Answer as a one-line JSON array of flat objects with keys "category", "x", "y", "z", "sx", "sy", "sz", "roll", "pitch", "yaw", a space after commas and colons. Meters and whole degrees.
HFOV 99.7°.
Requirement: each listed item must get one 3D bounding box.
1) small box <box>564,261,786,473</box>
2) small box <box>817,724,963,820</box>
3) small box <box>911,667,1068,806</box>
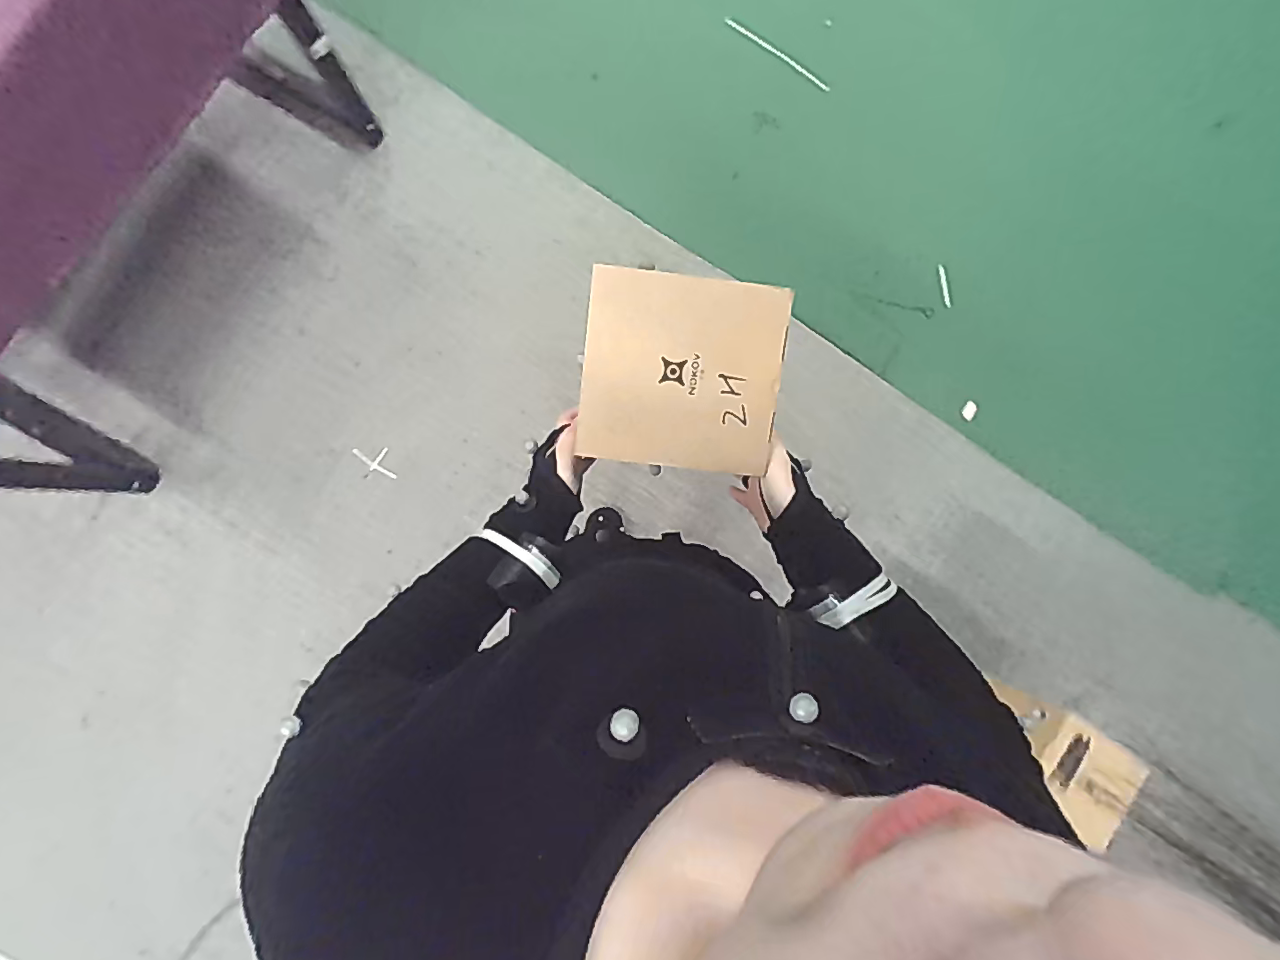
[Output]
[{"category": "small box", "x": 0.028, "y": -0.108, "z": 0.546, "sx": 0.179, "sy": 0.176, "sz": 0.168, "roll": 6, "pitch": 100, "yaw": -2}, {"category": "small box", "x": 0.498, "y": 0.634, "z": 1.108, "sx": 0.179, "sy": 0.176, "sz": 0.168, "roll": 41, "pitch": 87, "yaw": -2}, {"category": "small box", "x": 0.718, "y": 0.521, "z": 1.128, "sx": 0.179, "sy": 0.176, "sz": 0.168, "roll": 40, "pitch": 85, "yaw": -3}]
